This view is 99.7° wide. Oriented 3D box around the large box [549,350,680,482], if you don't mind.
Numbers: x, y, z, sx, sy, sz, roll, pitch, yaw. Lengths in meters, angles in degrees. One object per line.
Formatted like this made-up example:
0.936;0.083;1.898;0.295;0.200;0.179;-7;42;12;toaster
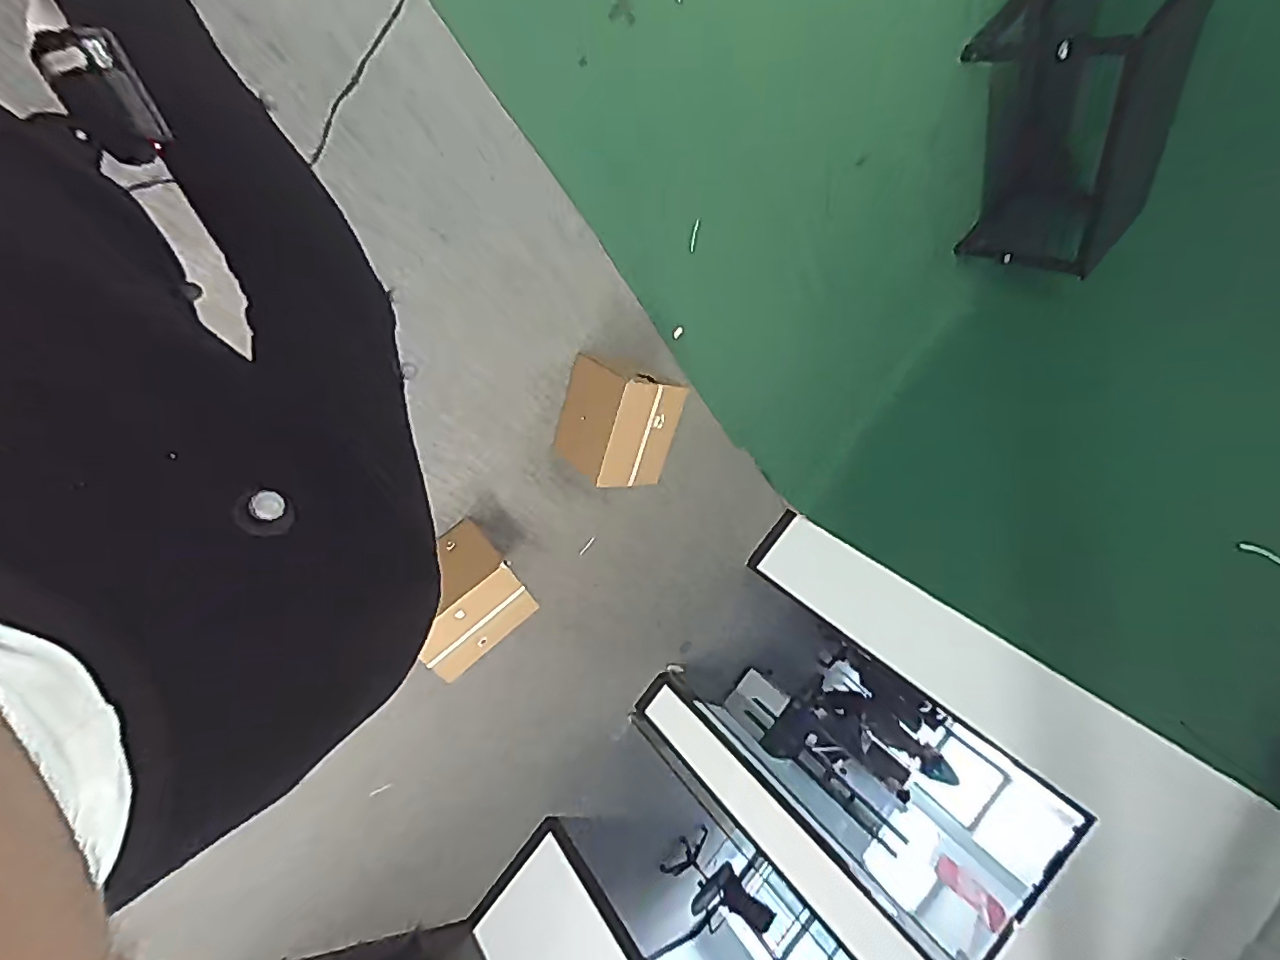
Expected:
-0.109;-0.242;2.057;0.320;0.320;0.408;-4;120;-44;large box
